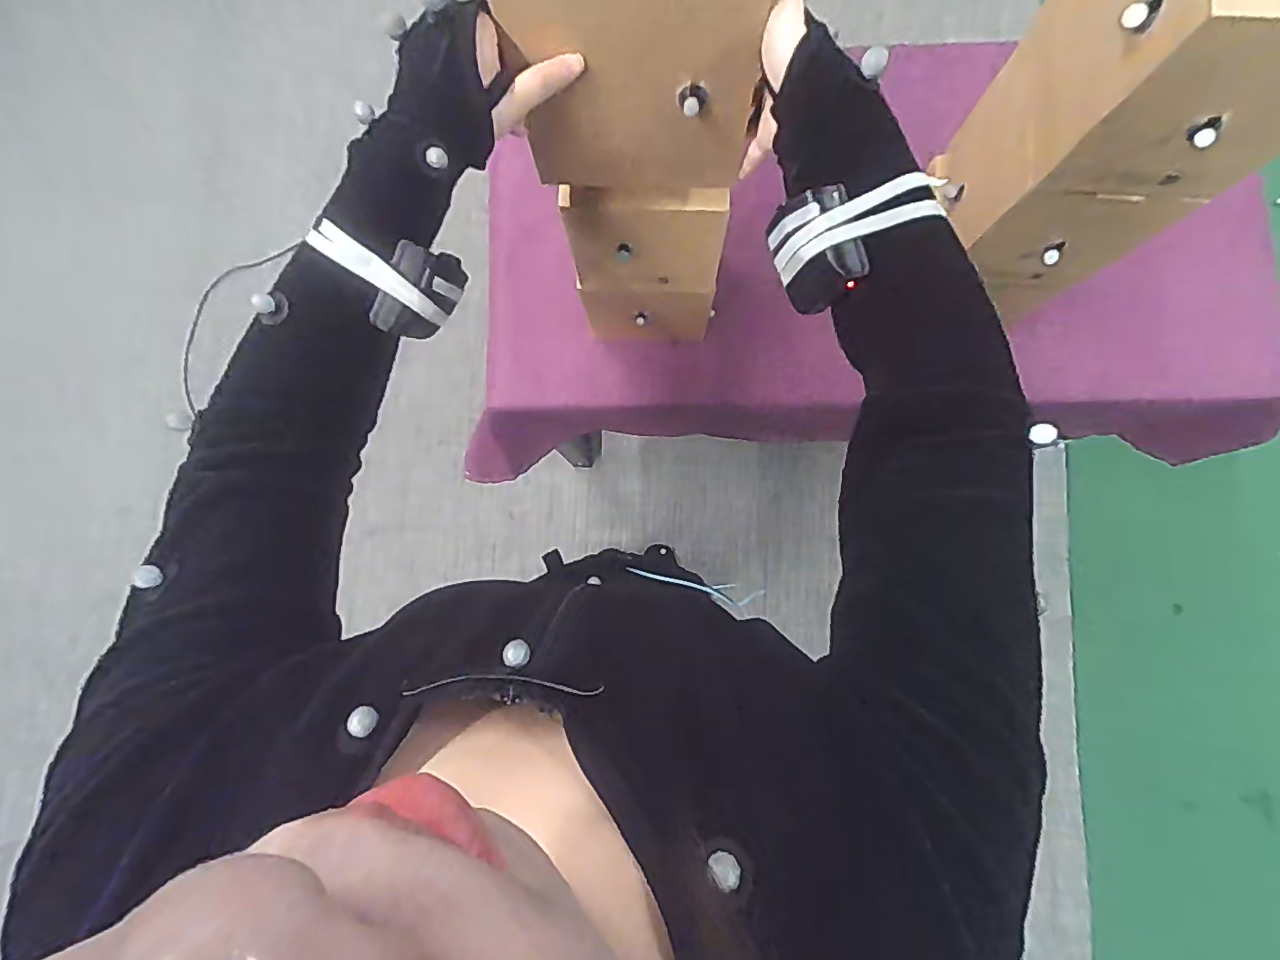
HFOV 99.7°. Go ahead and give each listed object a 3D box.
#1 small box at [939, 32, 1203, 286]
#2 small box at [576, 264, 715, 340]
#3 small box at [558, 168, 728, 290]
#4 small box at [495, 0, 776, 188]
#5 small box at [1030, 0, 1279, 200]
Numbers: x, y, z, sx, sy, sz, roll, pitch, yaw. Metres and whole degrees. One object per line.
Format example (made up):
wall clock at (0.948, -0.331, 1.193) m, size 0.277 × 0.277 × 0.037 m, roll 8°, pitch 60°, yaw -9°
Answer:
small box at (0.454, -0.334, 0.594) m, size 0.168 × 0.176 × 0.179 m, roll 6°, pitch 84°, yaw 2°
small box at (0.011, -0.308, 0.766) m, size 0.179 × 0.176 × 0.168 m, roll 1°, pitch 83°, yaw 2°
small box at (0.010, -0.331, 0.605) m, size 0.168 × 0.176 × 0.179 m, roll 3°, pitch 82°, yaw 2°
small box at (0.002, -0.354, 0.416) m, size 0.179 × 0.176 × 0.168 m, roll 4°, pitch 77°, yaw 2°
small box at (0.447, -0.353, 0.429) m, size 0.168 × 0.176 × 0.179 m, roll 5°, pitch 82°, yaw 2°
